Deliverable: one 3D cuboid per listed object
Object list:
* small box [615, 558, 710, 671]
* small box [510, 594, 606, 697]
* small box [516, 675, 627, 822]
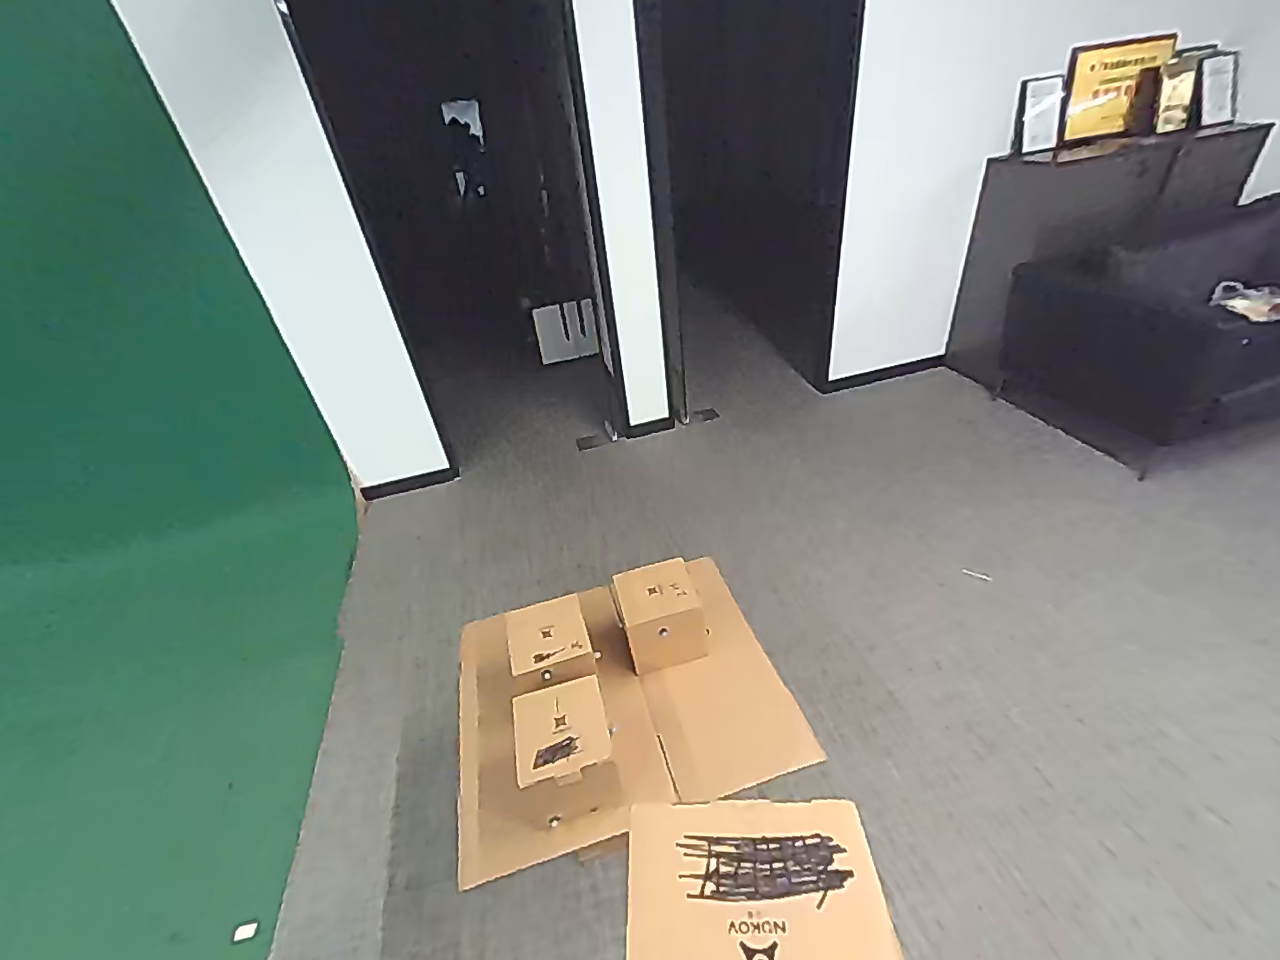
[{"bbox_3d":[0.052,0.314,1.255,0.179,0.176,0.168,-14,35,-6],"label":"small box"},{"bbox_3d":[-0.182,0.390,1.194,0.168,0.176,0.179,-16,34,-10],"label":"small box"},{"bbox_3d":[-0.127,0.507,1.013,0.168,0.176,0.179,-14,34,-8],"label":"small box"}]
